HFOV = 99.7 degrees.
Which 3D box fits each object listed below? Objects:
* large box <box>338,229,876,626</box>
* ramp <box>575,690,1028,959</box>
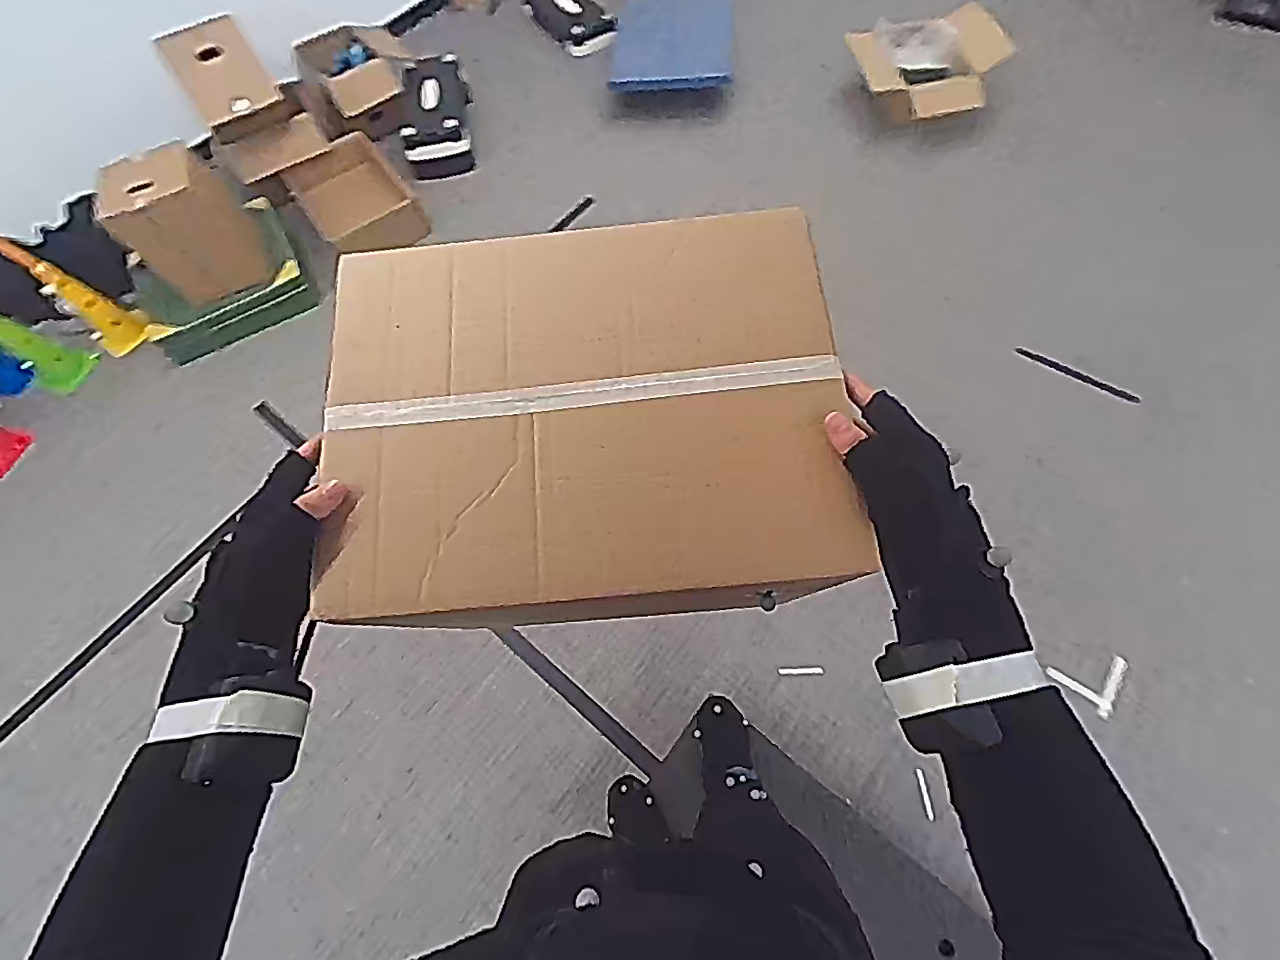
[{"bbox_3d":[-0.029,-0.016,0.577,0.408,0.320,0.320,-4,73,1],"label":"large box"},{"bbox_3d":[0.387,0.988,1.191,0.991,0.206,0.509,33,70,18],"label":"ramp"}]
